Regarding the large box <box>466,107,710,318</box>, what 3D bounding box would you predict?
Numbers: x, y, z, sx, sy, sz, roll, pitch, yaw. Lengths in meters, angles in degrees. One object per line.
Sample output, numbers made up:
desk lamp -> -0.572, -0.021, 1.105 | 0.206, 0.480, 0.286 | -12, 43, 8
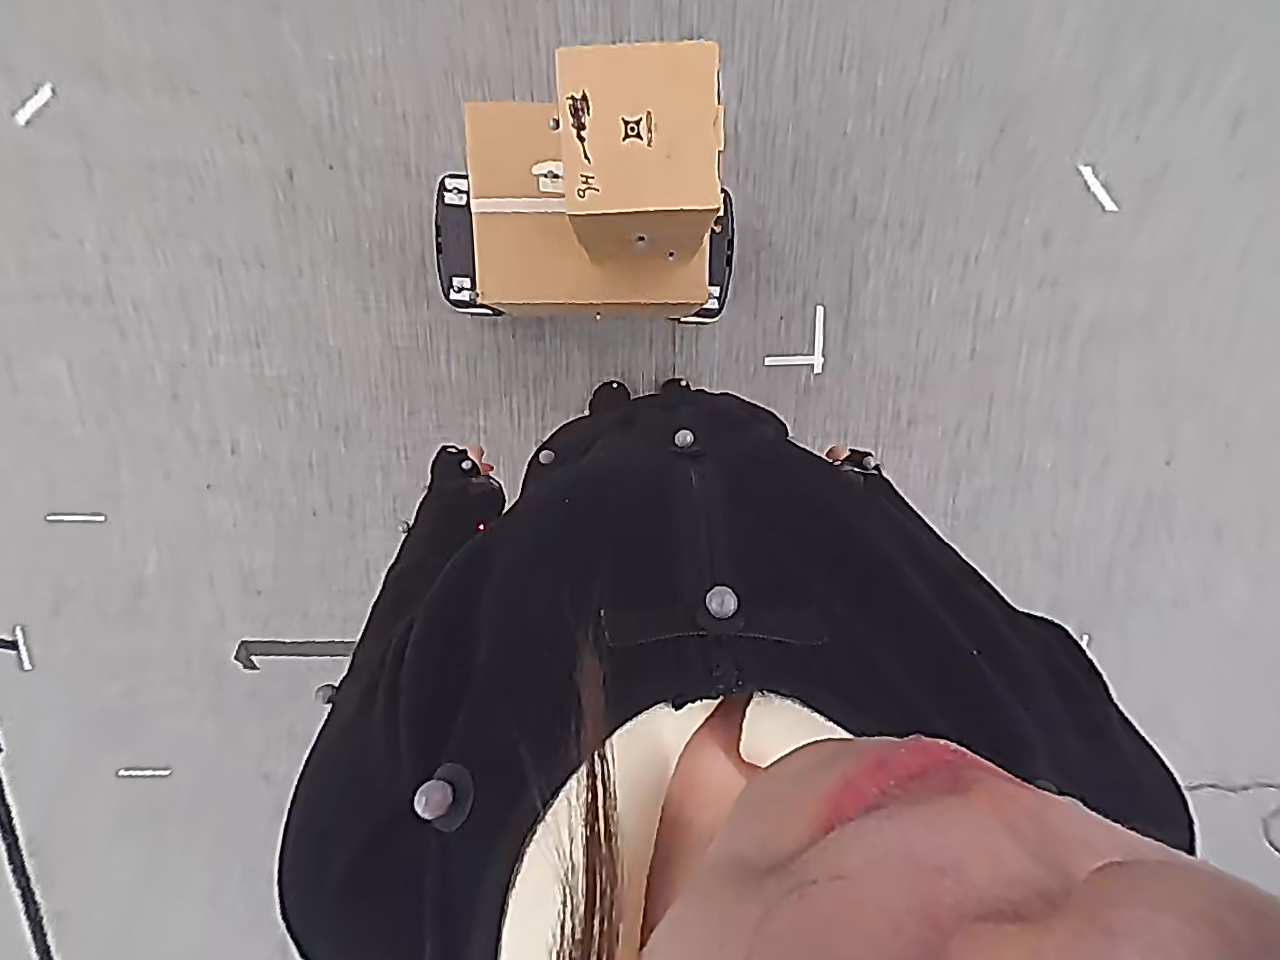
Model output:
large box -> -0.082, -0.487, 1.050 | 0.408, 0.320, 0.320 | 0, 101, -1

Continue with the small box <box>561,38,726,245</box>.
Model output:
small box -> 0.001, -0.392, 0.655 | 0.179, 0.176, 0.168 | -2, 101, -2

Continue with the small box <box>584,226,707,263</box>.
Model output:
small box -> 0.003, -0.429, 0.815 | 0.179, 0.176, 0.168 | -1, 102, -1
